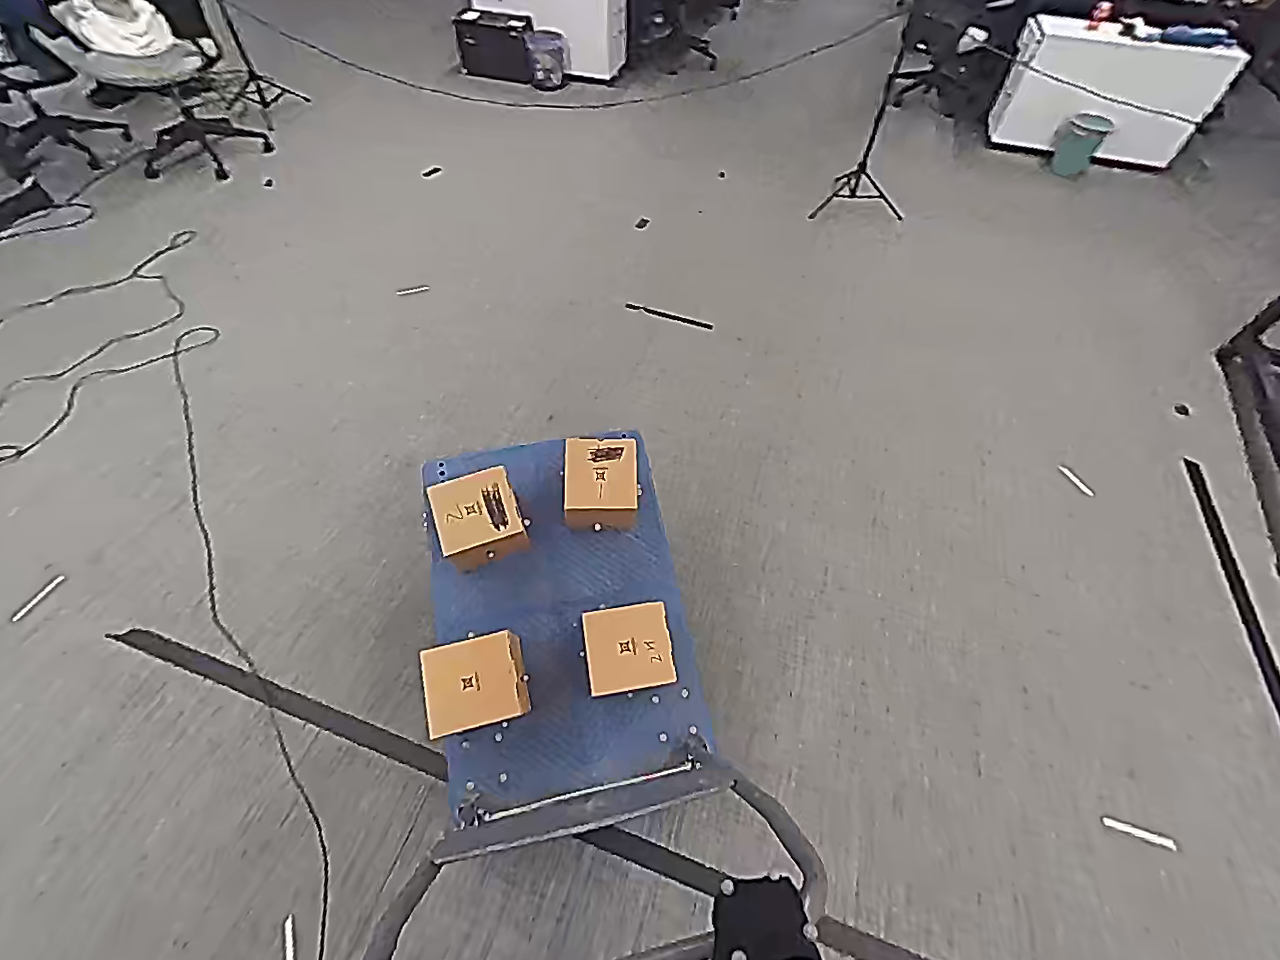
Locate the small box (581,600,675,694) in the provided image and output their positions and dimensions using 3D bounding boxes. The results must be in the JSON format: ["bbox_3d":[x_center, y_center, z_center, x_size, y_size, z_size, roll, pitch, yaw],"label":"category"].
[{"bbox_3d":[-0.030,0.367,1.176,0.179,0.176,0.168,-7,70,-8],"label":"small box"}]

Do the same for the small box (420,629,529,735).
[{"bbox_3d":[-0.339,0.421,1.127,0.179,0.176,0.168,-12,70,-11],"label":"small box"}]

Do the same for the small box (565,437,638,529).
[{"bbox_3d":[-0.095,0.011,1.308,0.168,0.176,0.179,1,70,-5],"label":"small box"}]
